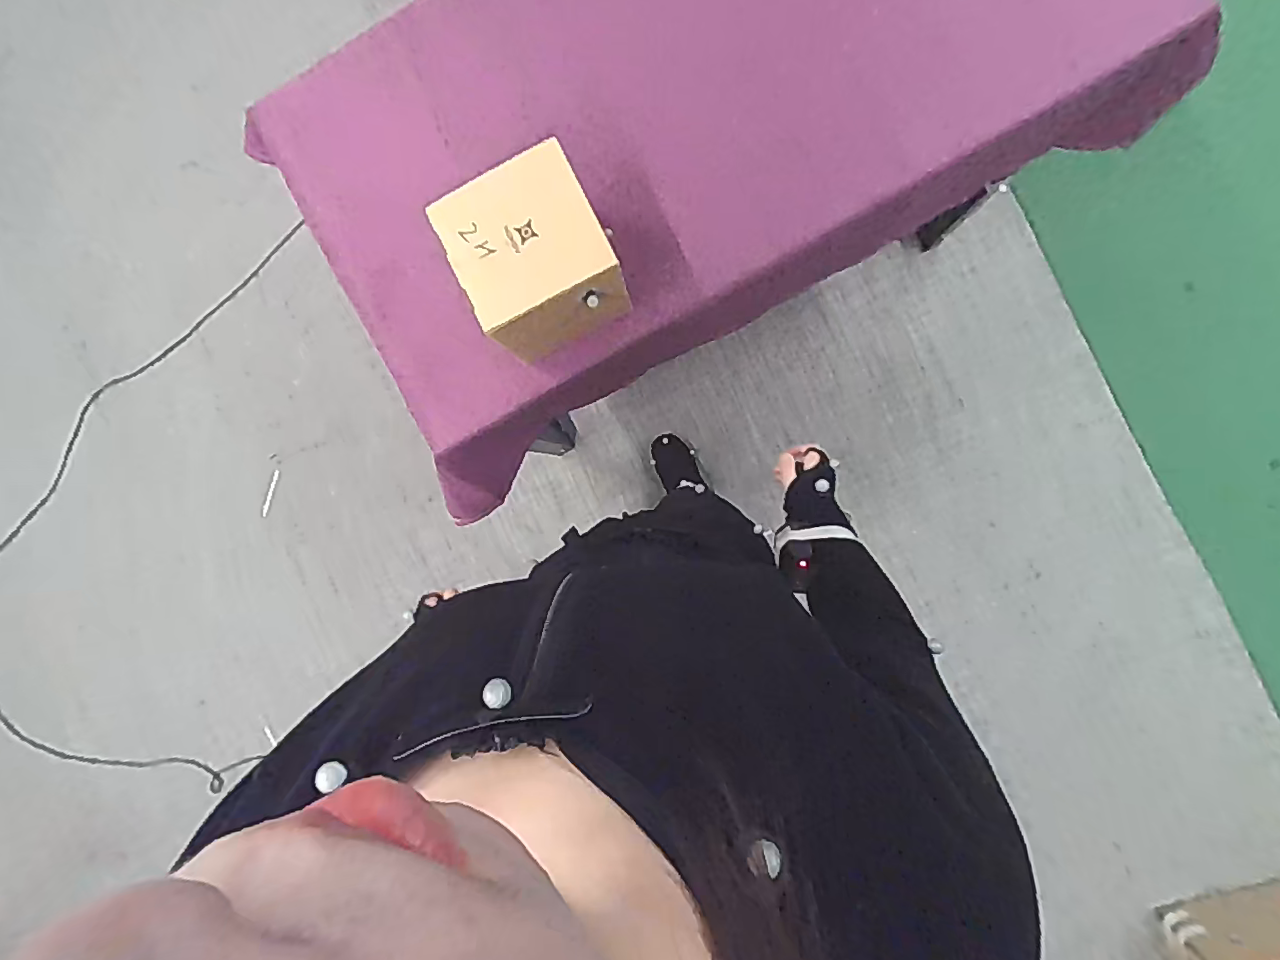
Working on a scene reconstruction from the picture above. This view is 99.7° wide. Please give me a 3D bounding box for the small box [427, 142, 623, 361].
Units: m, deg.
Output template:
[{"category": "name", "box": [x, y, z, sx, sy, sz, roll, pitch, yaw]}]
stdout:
[{"category": "small box", "box": [-0.131, -0.277, 0.697, 0.179, 0.176, 0.168, -26, 87, 5]}]
